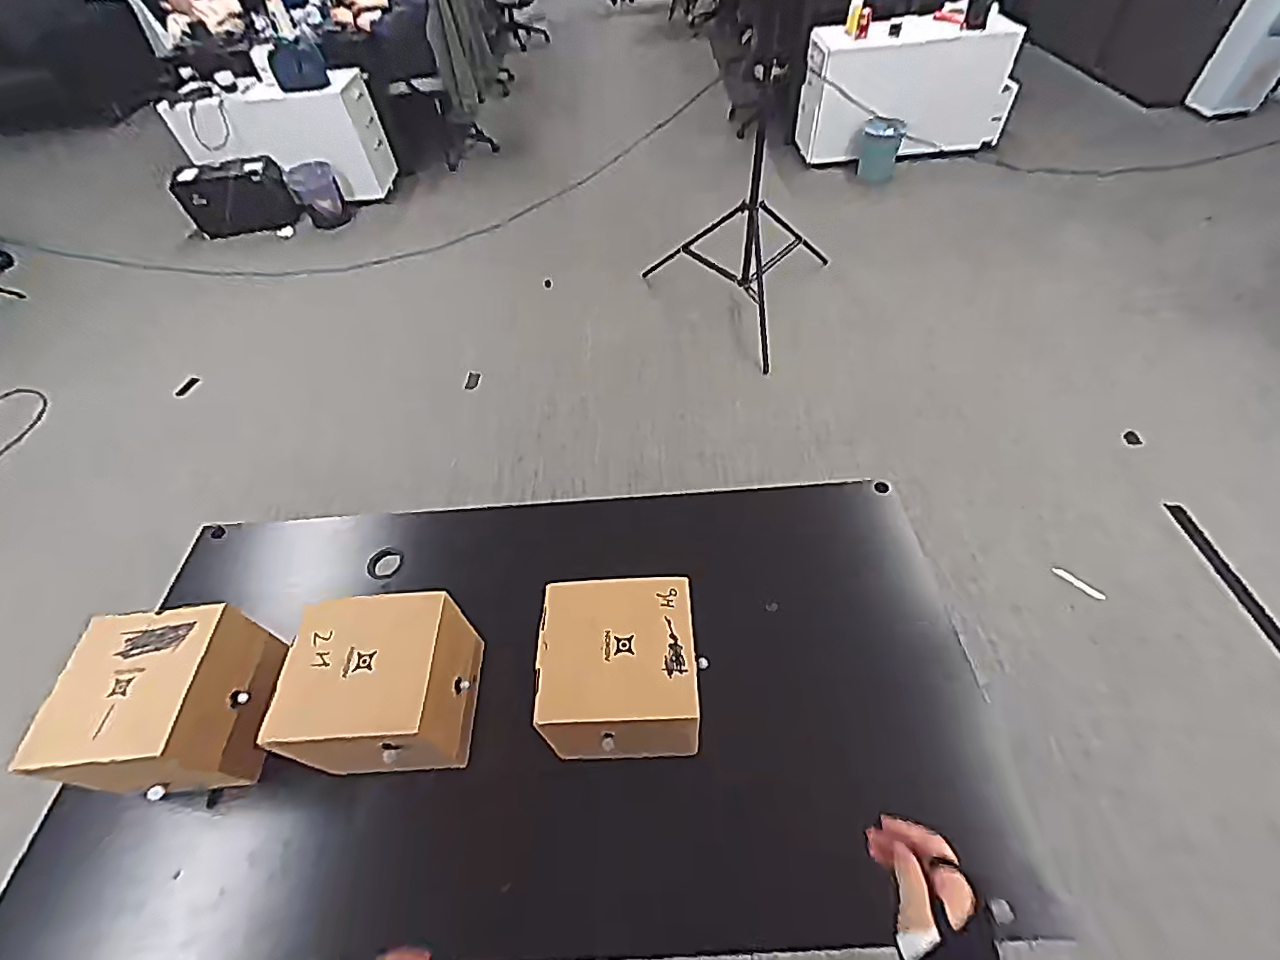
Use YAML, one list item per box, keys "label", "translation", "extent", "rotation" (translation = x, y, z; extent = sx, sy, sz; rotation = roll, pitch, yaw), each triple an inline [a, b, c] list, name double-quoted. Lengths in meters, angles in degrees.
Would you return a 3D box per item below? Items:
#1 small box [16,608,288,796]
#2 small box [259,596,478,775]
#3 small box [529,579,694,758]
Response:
- label: "small box"
  translation: [-0.584, 0.284, 0.687]
  extent: [0.168, 0.176, 0.179]
  rotation: [-6, 52, 0]
- label: "small box"
  translation: [-0.318, 0.262, 0.682]
  extent: [0.179, 0.176, 0.168]
  rotation: [-4, 51, 1]
- label: "small box"
  translation: [-0.026, 0.240, 0.677]
  extent: [0.179, 0.176, 0.168]
  rotation: [-4, 51, 3]
